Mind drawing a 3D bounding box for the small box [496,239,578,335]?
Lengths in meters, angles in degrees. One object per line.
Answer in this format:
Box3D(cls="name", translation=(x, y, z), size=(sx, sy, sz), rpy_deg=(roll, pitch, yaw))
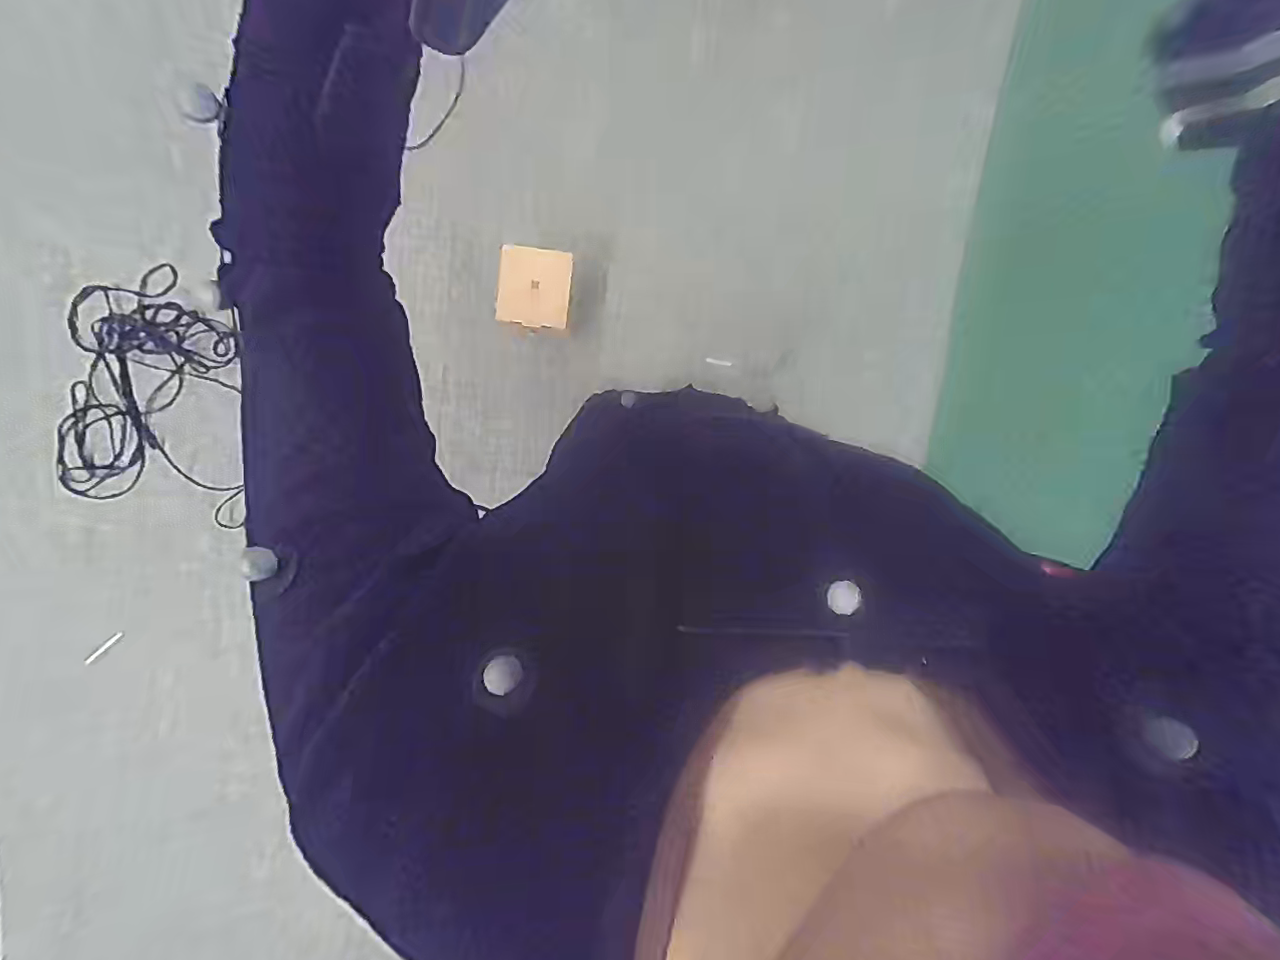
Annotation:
Box3D(cls="small box", translation=(-0.246, -0.466, 1.328), size=(0.168, 0.176, 0.179), rpy_deg=(7, 97, -2))
